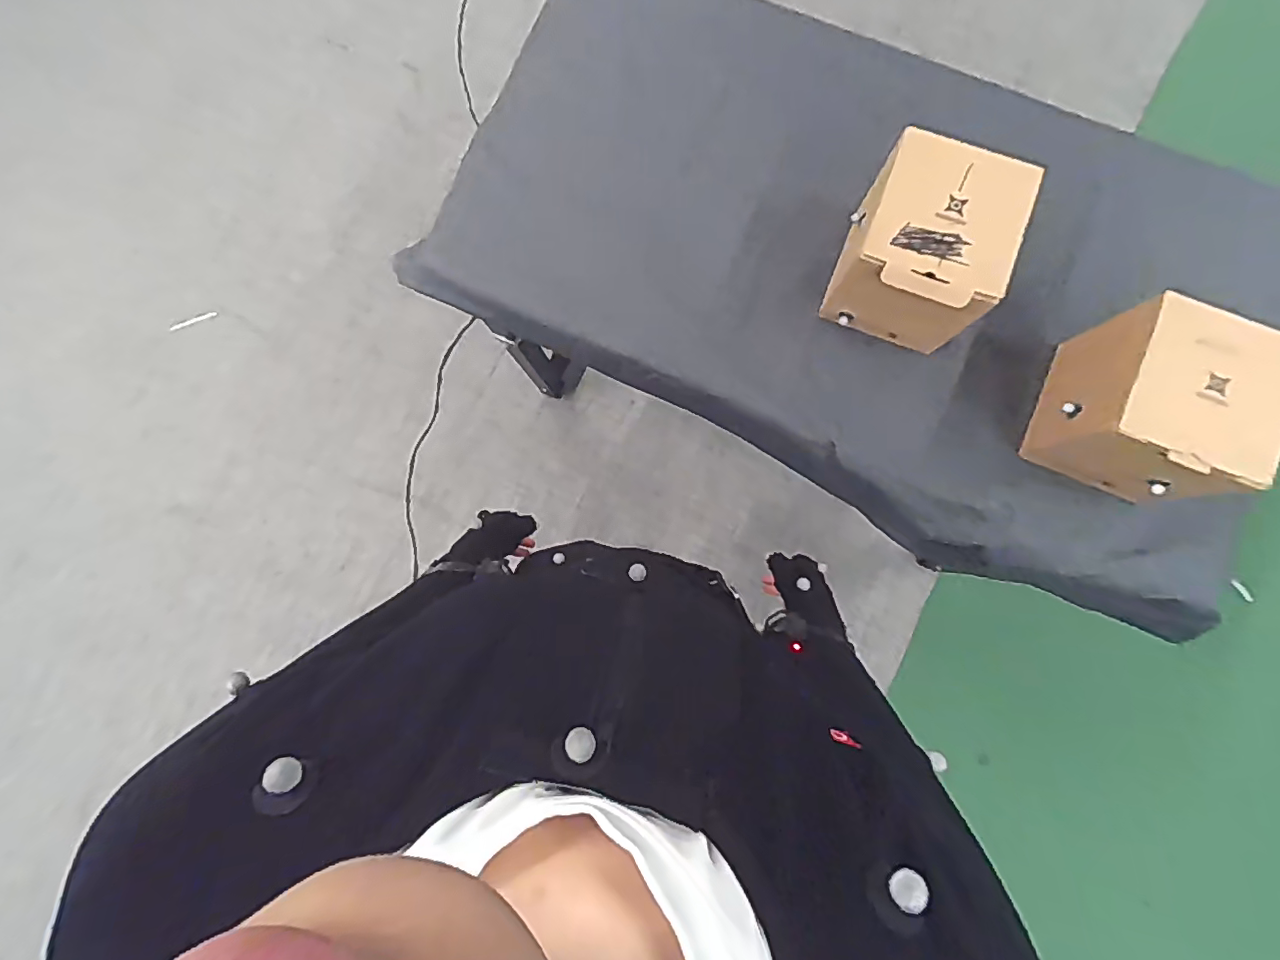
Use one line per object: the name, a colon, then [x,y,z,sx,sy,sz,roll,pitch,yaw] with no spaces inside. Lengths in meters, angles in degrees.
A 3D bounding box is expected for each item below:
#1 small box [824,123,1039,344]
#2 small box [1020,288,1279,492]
small box: [0.357,-0.302,0.699,0.168,0.176,0.179,21,84,4]
small box: [0.618,-0.096,0.668,0.168,0.176,0.179,23,84,4]
